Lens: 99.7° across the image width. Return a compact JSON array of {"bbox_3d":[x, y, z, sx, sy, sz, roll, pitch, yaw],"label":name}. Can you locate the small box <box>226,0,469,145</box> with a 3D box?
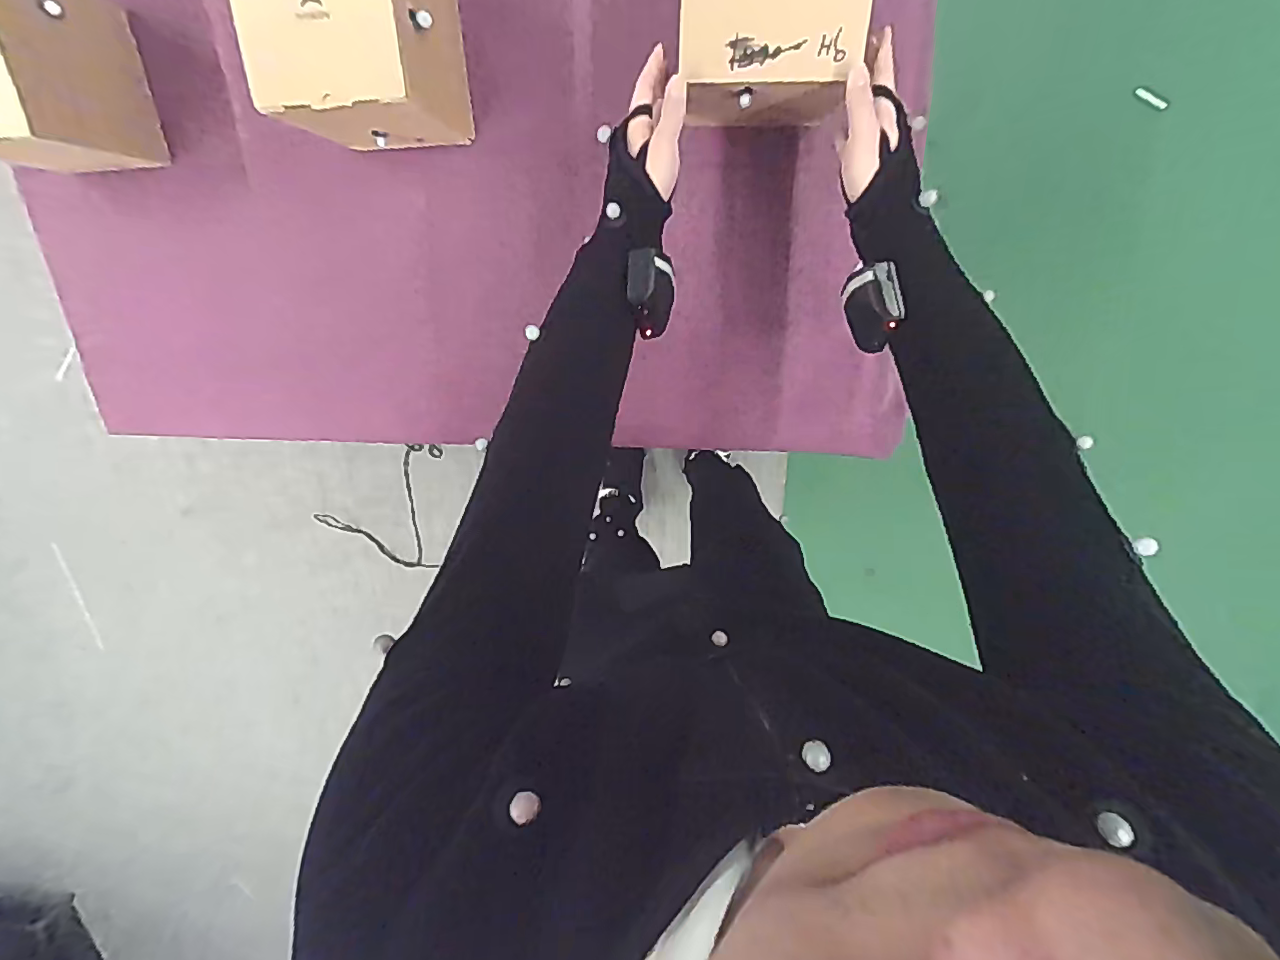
[{"bbox_3d":[-0.299,-0.479,0.574,0.168,0.176,0.179,0,111,6],"label":"small box"}]

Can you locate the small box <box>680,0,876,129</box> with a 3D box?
[{"bbox_3d":[0.128,-0.467,0.527,0.168,0.176,0.179,4,112,6],"label":"small box"}]
